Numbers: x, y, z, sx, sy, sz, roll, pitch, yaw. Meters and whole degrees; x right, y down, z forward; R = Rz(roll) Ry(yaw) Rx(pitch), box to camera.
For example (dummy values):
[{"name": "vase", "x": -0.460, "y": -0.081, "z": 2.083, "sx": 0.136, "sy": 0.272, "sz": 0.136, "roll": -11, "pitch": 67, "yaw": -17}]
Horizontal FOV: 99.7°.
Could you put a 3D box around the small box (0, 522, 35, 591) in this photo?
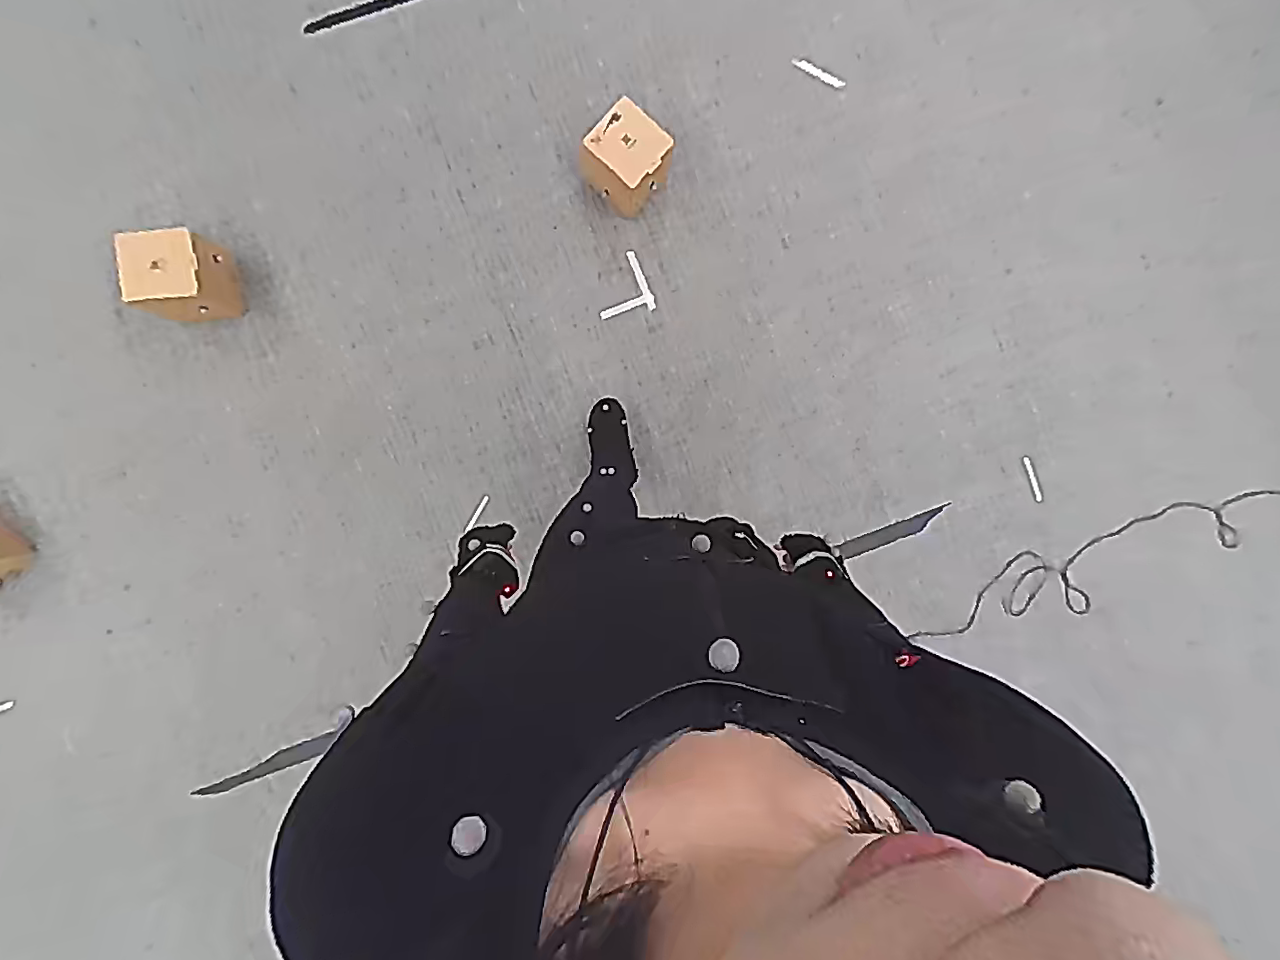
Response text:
[{"name": "small box", "x": -1.670, "y": 0.194, "z": 1.311, "sx": 0.168, "sy": 0.176, "sz": 0.179, "roll": -43, "pitch": 93, "yaw": -3}]

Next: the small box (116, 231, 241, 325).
[{"name": "small box", "x": -1.141, "y": -0.499, "z": 1.355, "sx": 0.179, "sy": 0.176, "sz": 0.168, "roll": -8, "pitch": 89, "yaw": -3}]

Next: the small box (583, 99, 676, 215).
[{"name": "small box", "x": -0.031, "y": -0.836, "z": 1.426, "sx": 0.179, "sy": 0.176, "sz": 0.168, "roll": 42, "pitch": 88, "yaw": -4}]
